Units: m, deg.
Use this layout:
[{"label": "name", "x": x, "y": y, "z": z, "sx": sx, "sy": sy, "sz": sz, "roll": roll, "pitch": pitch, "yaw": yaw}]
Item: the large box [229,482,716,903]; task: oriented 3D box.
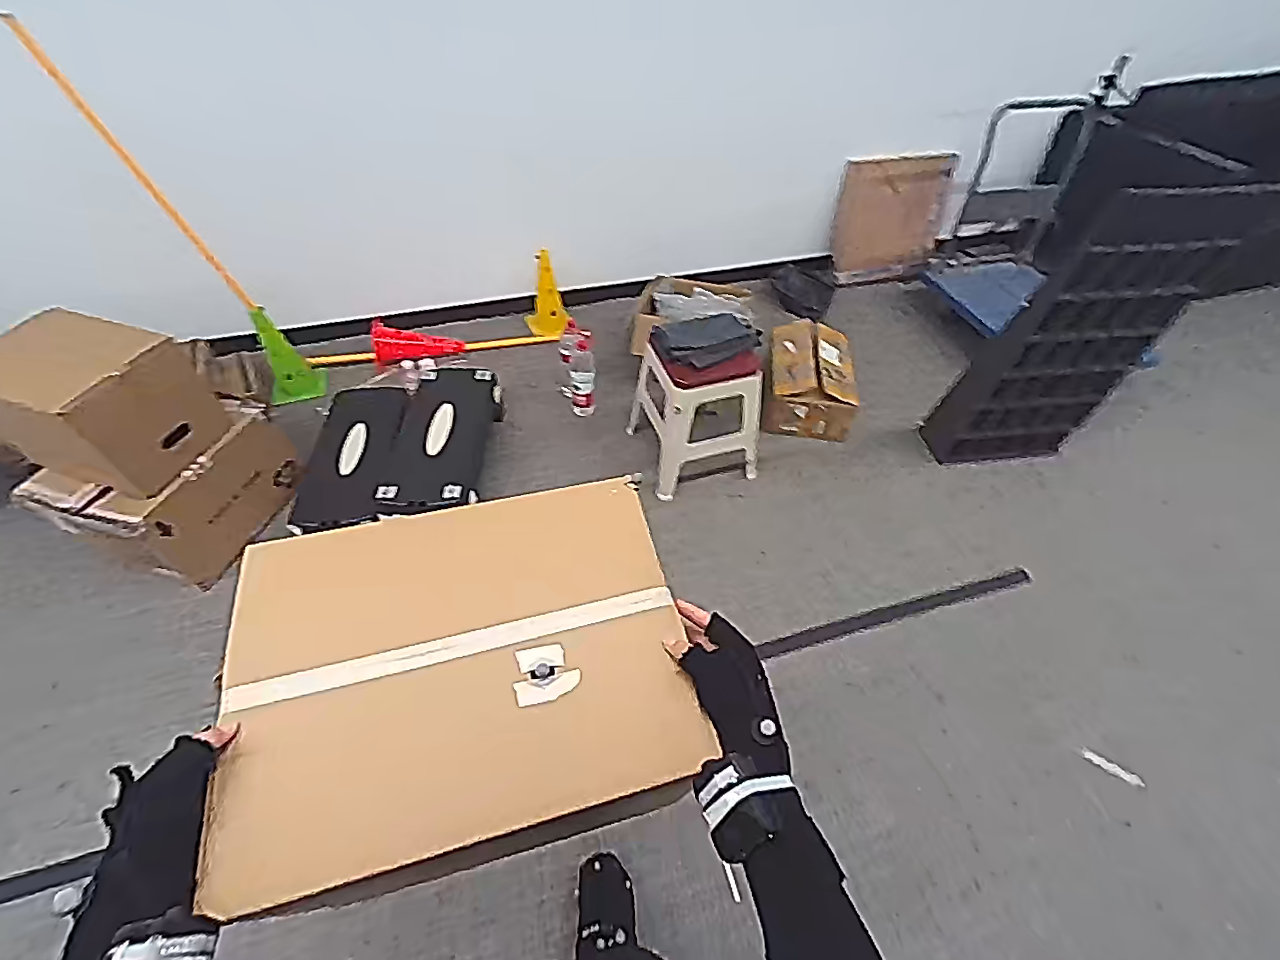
[{"label": "large box", "x": -0.172, "y": 0.245, "z": 0.645, "sx": 0.408, "sy": 0.320, "sz": 0.320, "roll": -10, "pitch": 57, "yaw": -13}]
